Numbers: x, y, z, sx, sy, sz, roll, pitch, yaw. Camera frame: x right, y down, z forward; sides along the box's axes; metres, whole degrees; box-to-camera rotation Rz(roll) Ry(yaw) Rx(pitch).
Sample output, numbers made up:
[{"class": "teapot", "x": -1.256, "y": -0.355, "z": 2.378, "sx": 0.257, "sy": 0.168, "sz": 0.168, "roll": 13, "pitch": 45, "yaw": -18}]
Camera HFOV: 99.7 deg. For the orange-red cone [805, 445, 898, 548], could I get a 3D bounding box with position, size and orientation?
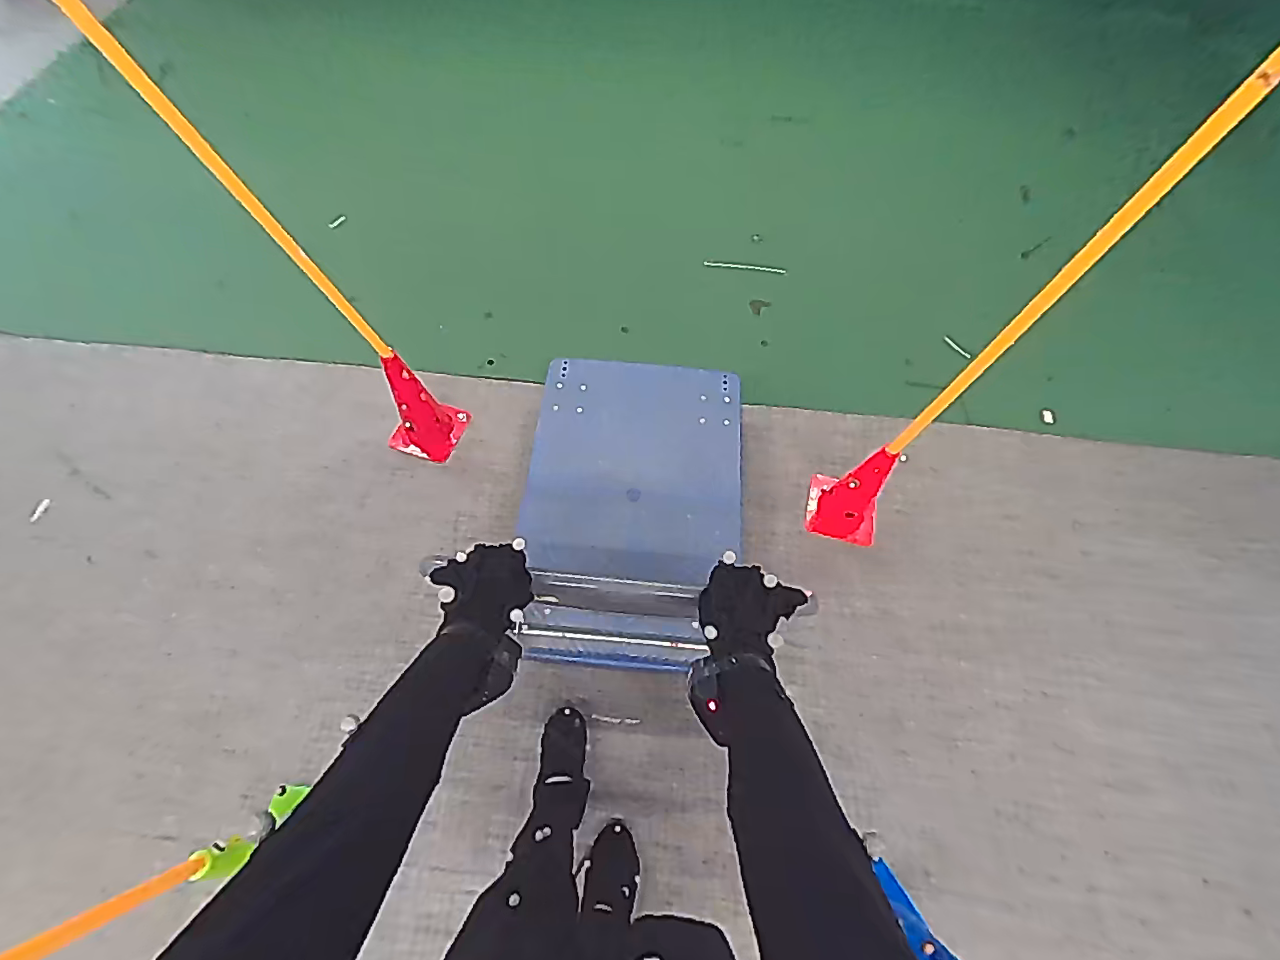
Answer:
[{"class": "orange-red cone", "x": 0.608, "y": 0.015, "z": 1.468, "sx": 0.198, "sy": 0.360, "sz": 0.199, "roll": 16, "pitch": 63, "yaw": 7}]
